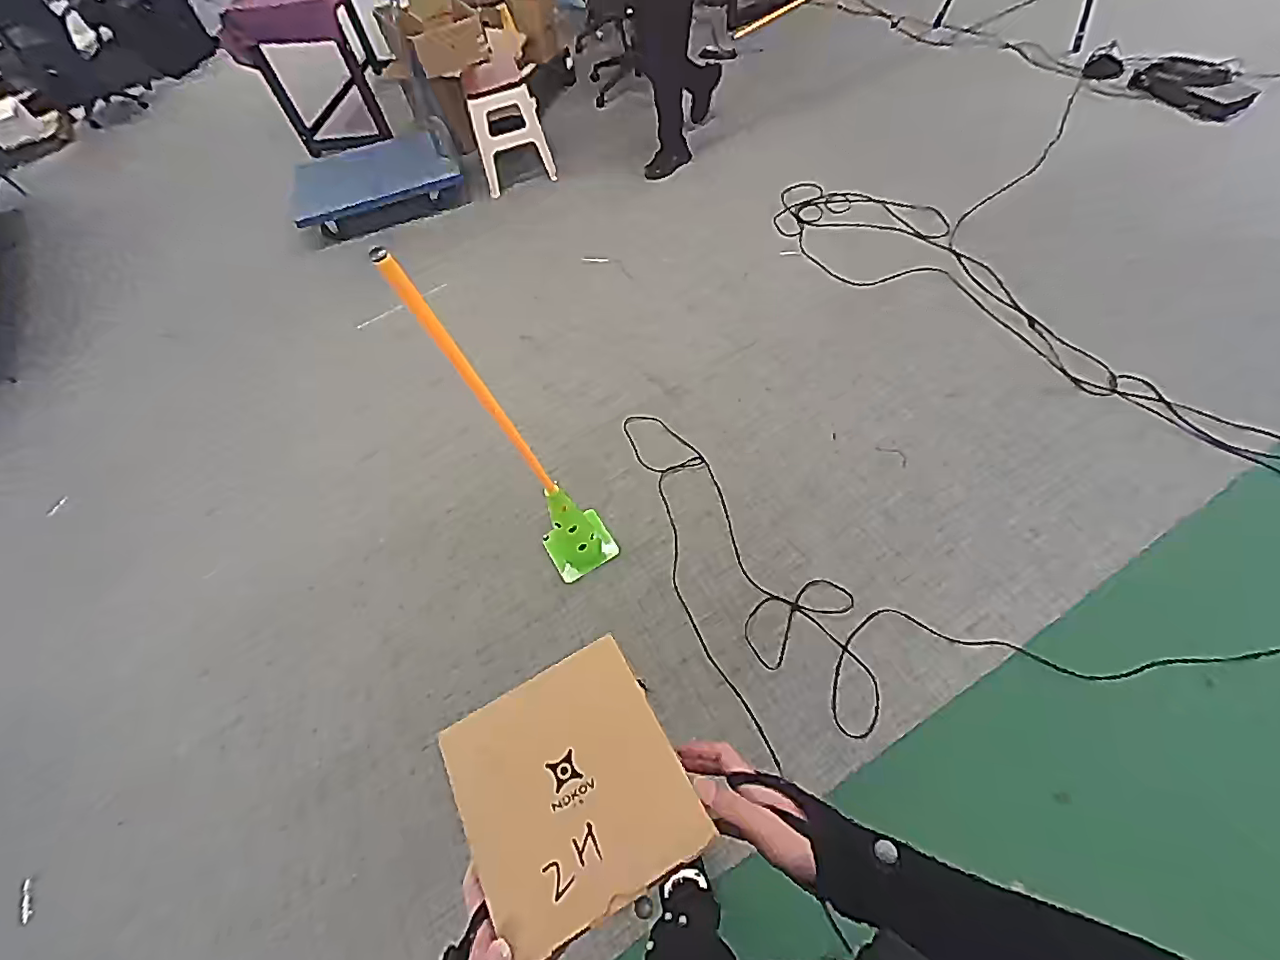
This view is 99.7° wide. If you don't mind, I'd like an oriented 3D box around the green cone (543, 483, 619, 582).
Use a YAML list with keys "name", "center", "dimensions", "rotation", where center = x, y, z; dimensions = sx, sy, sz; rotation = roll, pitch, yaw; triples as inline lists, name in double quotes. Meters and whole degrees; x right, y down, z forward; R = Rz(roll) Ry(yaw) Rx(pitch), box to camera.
- name: "green cone"
  center: [-0.210, 0.123, 1.613]
  dimensions: [0.202, 0.368, 0.200]
  rotation: [-30, 60, -12]

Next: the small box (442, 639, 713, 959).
- name: "small box"
  center: [-0.049, 0.279, 0.488]
  dimensions: [0.168, 0.176, 0.179]
  rotation: [-27, 58, -9]
